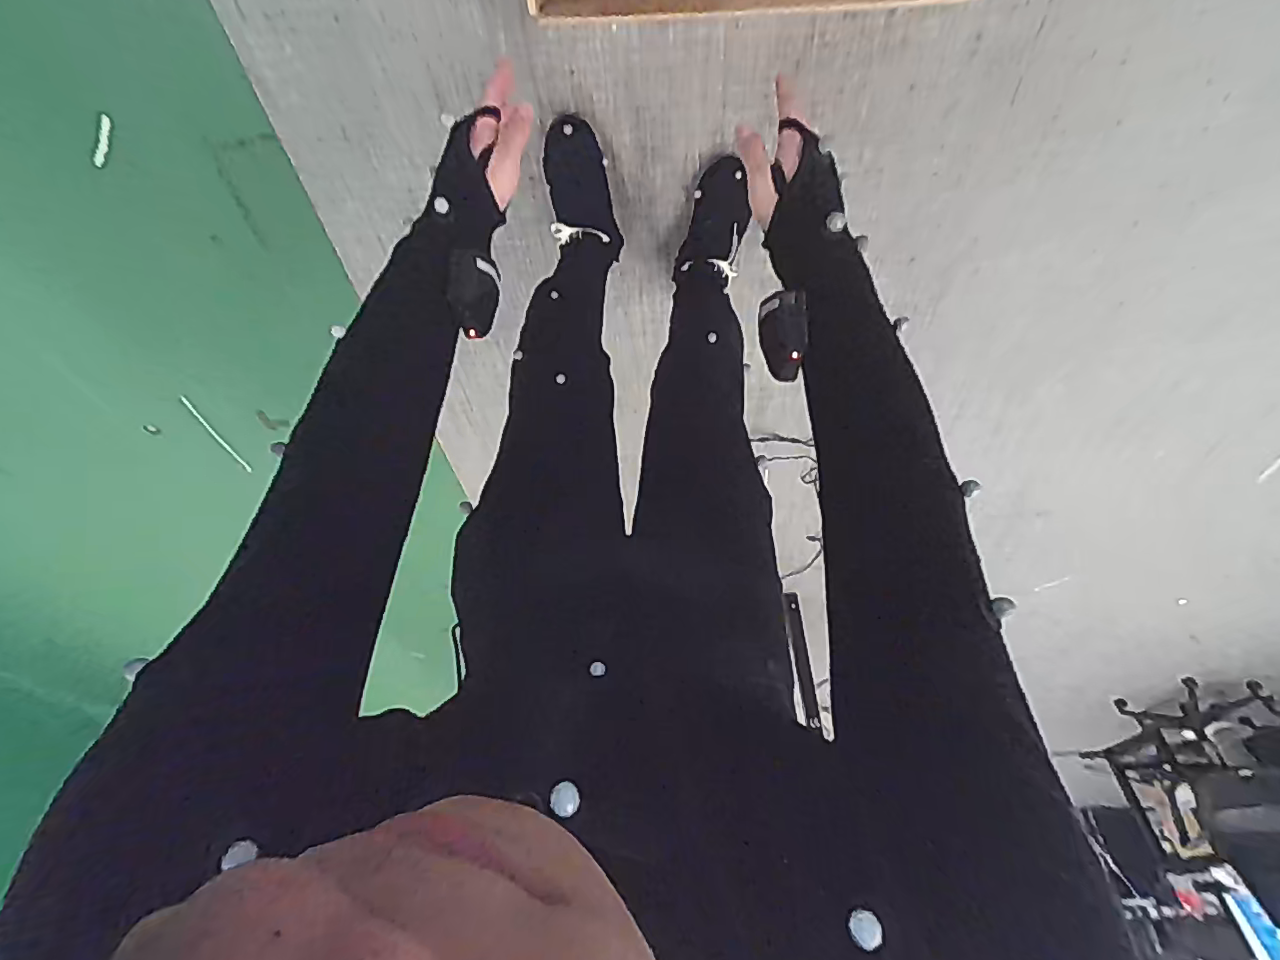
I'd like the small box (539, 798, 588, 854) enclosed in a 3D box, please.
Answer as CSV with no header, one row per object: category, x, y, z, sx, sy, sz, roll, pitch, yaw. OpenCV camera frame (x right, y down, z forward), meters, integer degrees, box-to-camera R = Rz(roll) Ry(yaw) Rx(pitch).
small box,-0.303,1.392,2.172,0.168,0.176,0.179,-3,139,2
